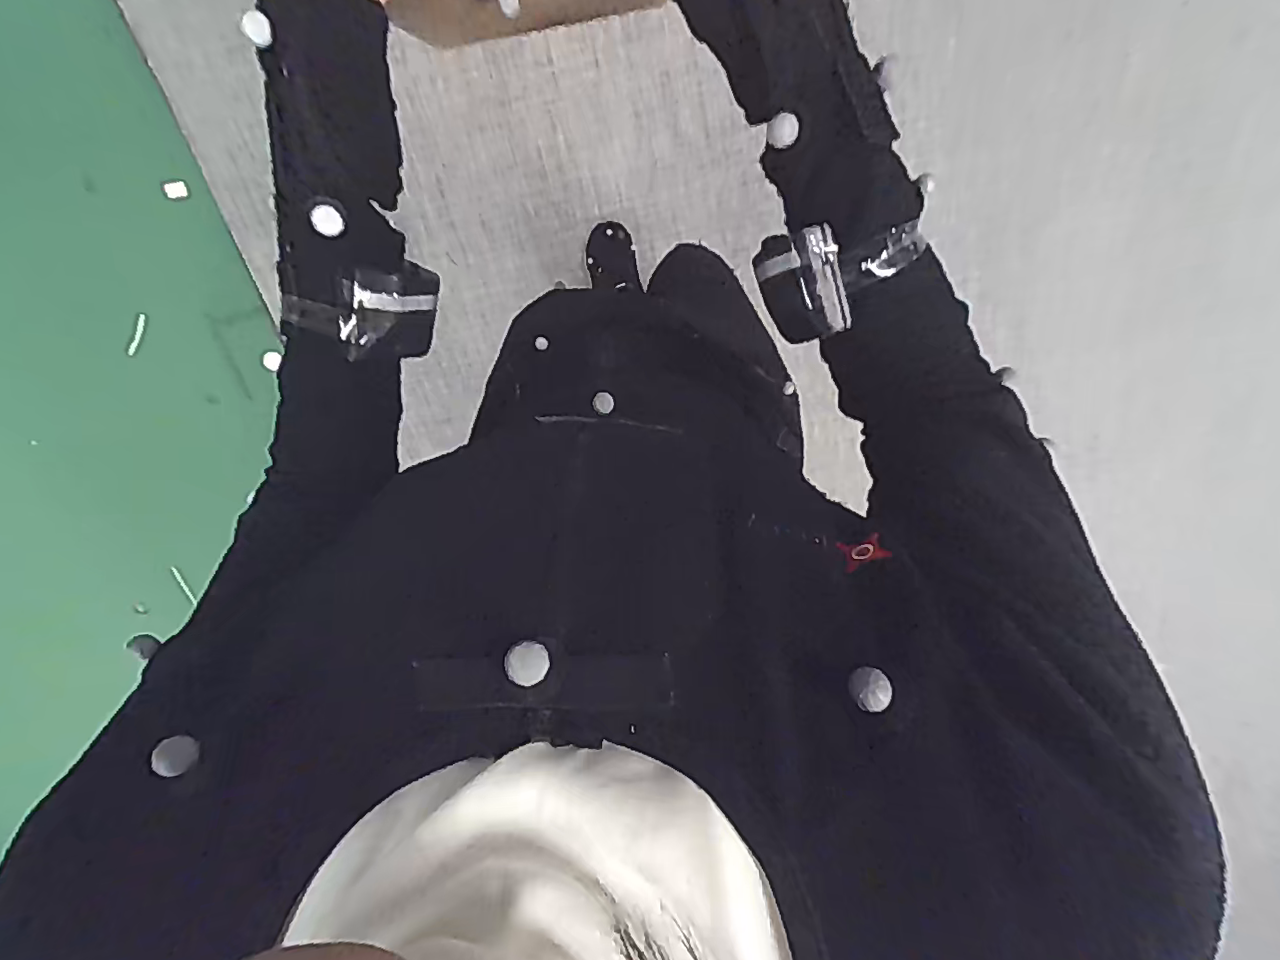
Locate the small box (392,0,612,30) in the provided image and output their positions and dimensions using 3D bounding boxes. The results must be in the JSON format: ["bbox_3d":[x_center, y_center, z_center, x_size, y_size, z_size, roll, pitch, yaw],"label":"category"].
[{"bbox_3d":[-0.082,-0.363,0.280,0.179,0.176,0.168,-8,121,4],"label":"small box"}]
